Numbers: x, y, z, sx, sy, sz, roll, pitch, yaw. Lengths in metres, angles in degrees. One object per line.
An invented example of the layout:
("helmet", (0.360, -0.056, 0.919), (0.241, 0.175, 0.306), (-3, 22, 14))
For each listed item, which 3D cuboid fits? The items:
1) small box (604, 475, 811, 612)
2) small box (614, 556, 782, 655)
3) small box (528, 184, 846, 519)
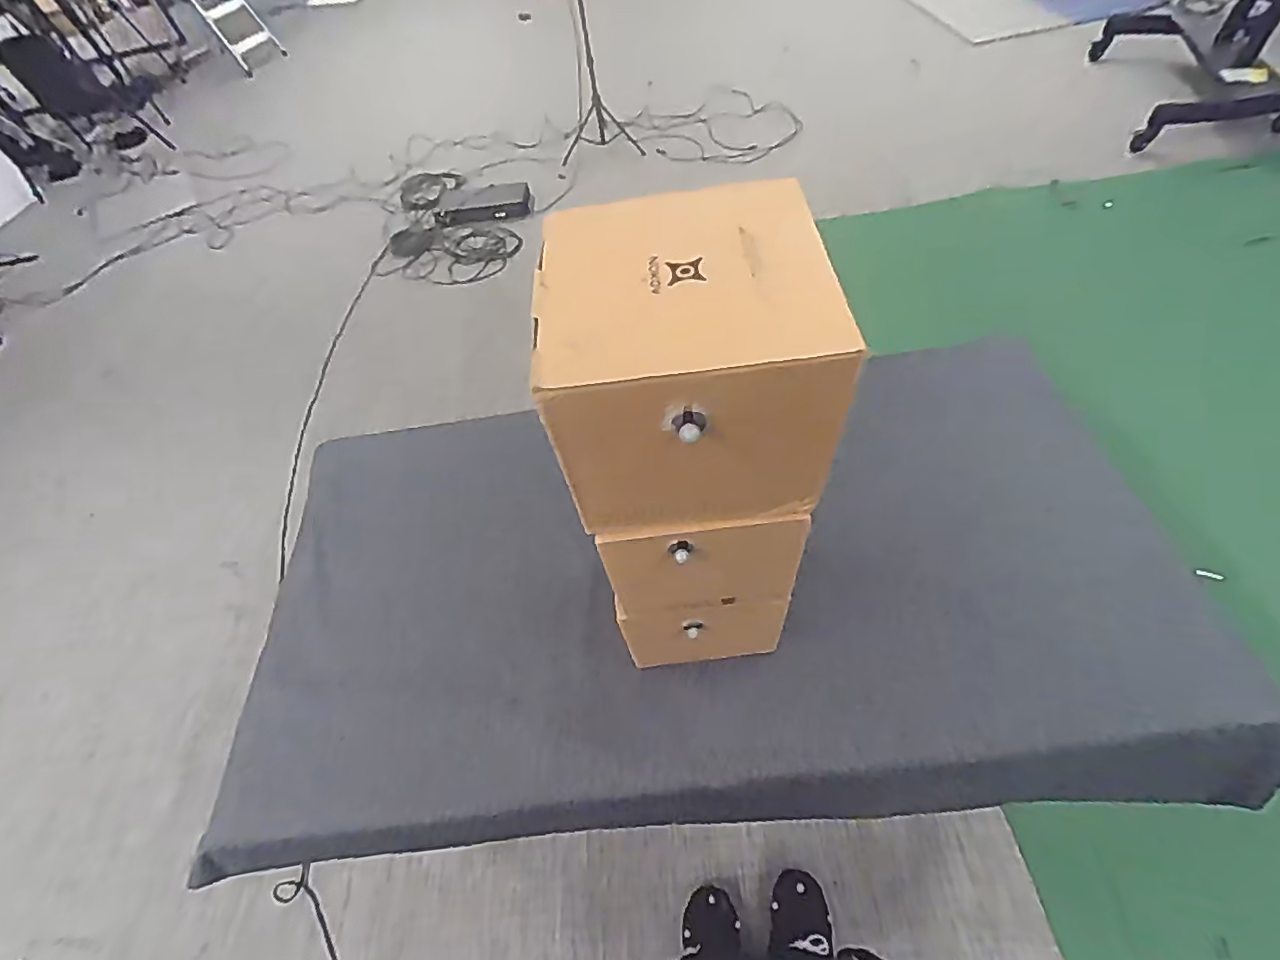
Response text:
("small box", (0.052, 0.010, 0.534), (0.168, 0.176, 0.179), (-9, 56, 1))
("small box", (0.066, 0.104, 0.664), (0.179, 0.176, 0.168), (-8, 55, 3))
("small box", (0.029, -0.083, 0.399), (0.179, 0.176, 0.168), (-6, 57, 3))
